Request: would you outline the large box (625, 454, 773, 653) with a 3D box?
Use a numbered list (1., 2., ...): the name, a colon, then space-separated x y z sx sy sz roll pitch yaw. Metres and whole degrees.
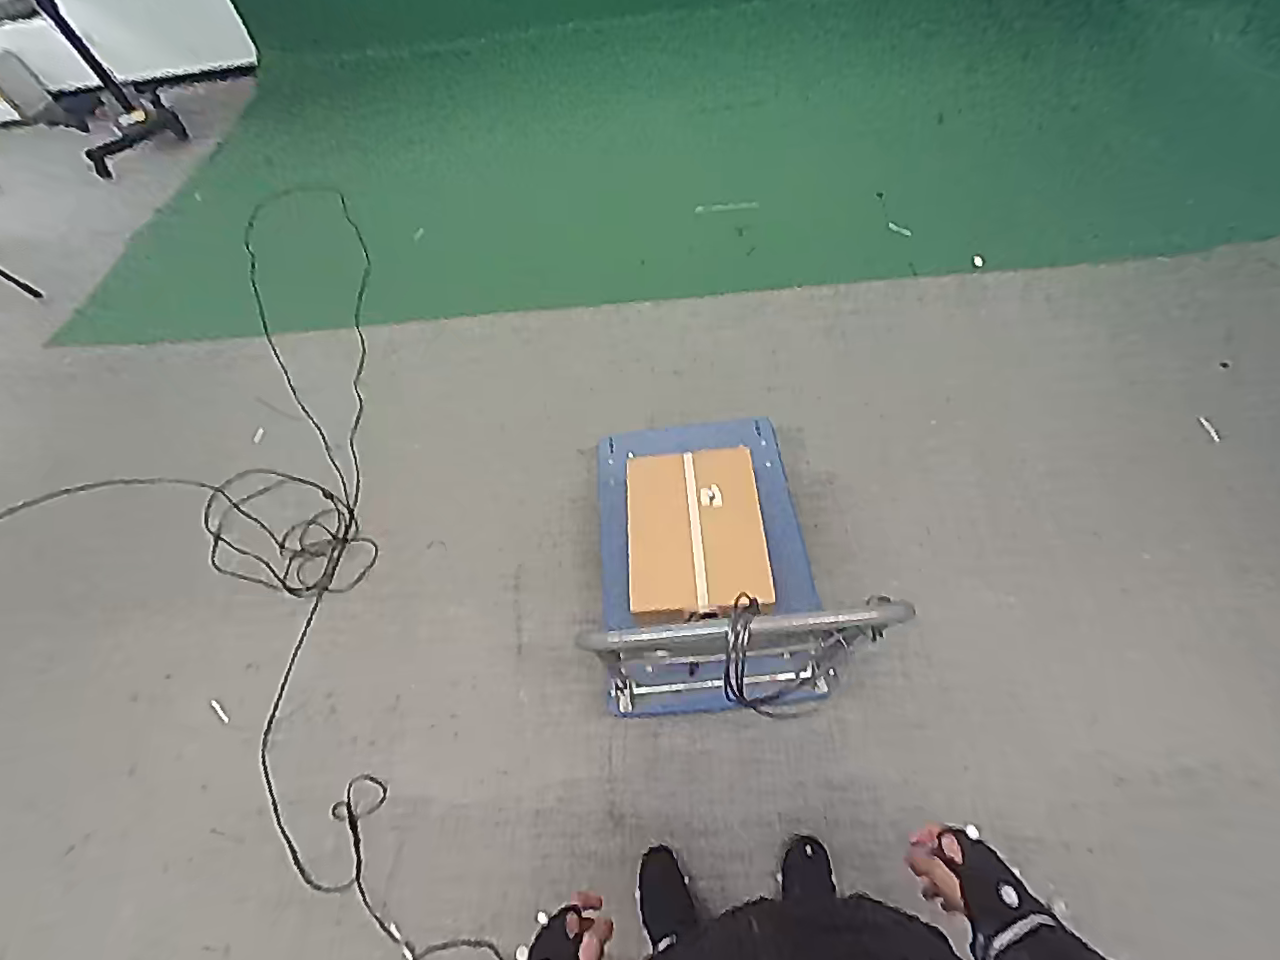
1. large box: 0.139 0.194 1.383 0.320 0.320 0.408 -5 57 4
